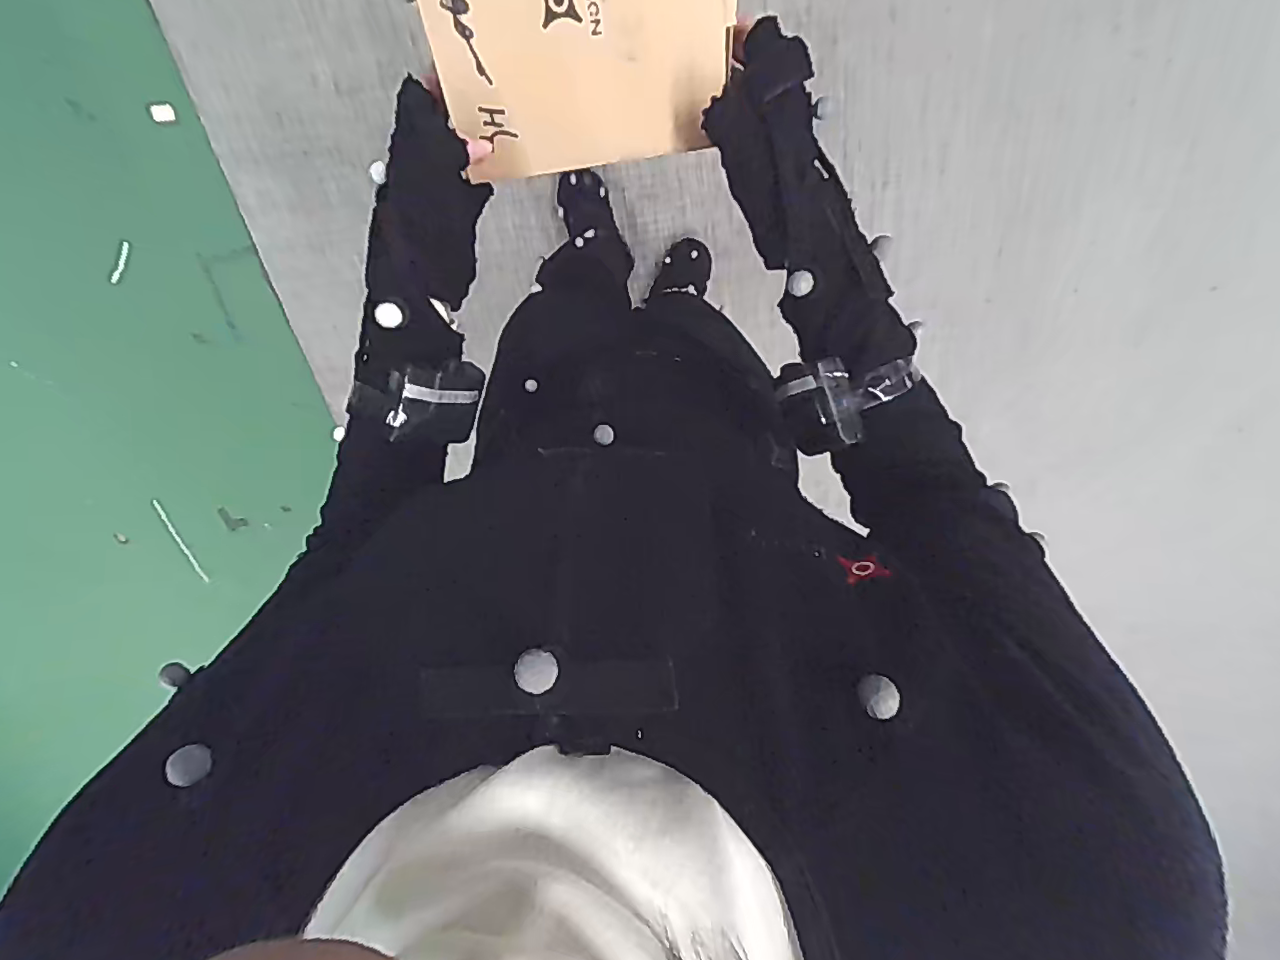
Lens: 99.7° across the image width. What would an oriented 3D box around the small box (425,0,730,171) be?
[{"bbox_3d":[-0.042,-0.329,0.370,0.179,0.176,0.168,-7,129,1],"label":"small box"}]
